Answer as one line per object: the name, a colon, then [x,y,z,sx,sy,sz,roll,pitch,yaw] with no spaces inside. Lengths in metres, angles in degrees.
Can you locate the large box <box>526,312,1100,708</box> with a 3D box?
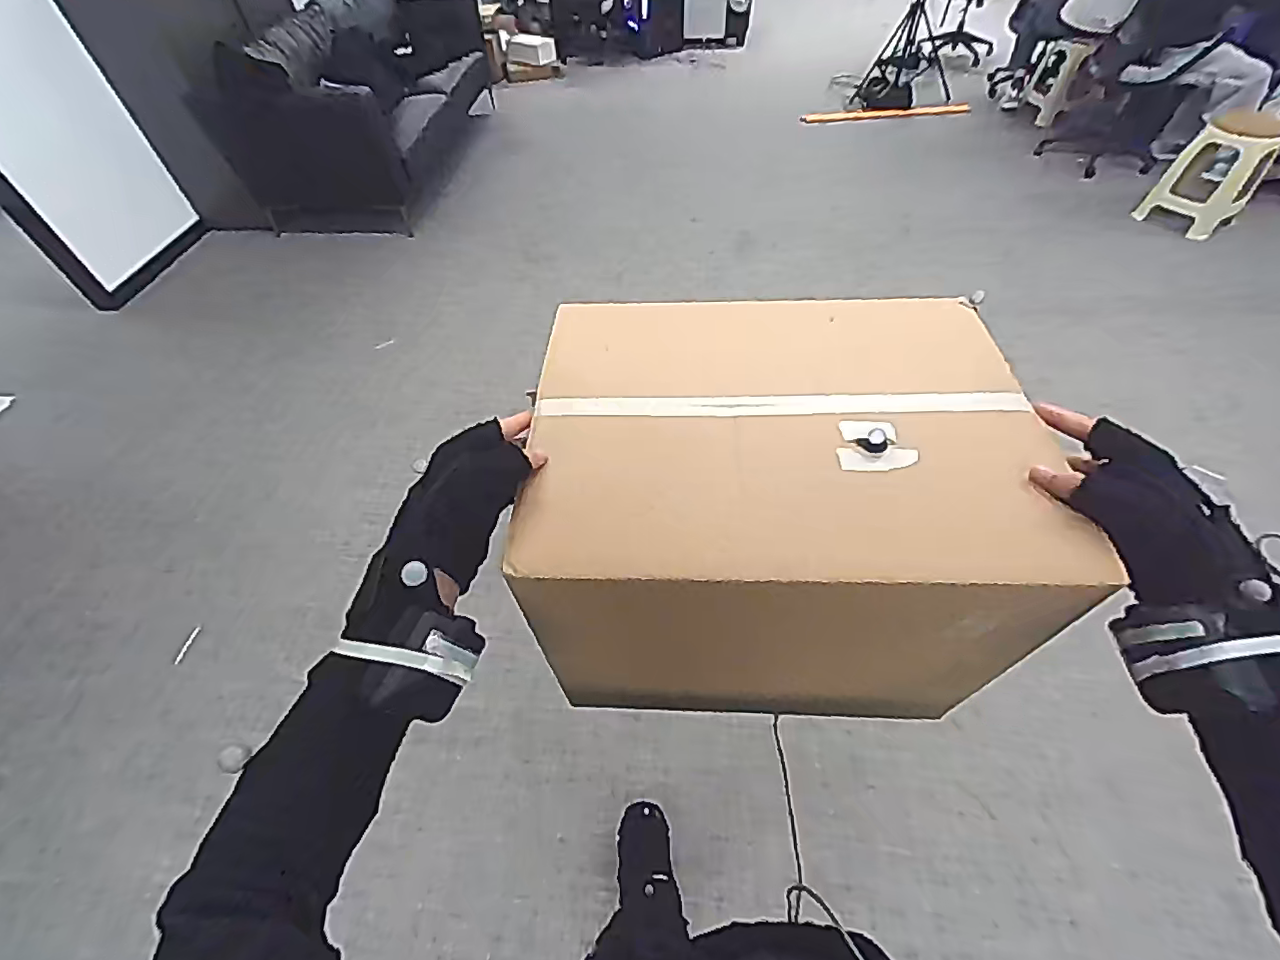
large box: [0.122,0.041,0.579,0.408,0.320,0.320,0,52,3]
